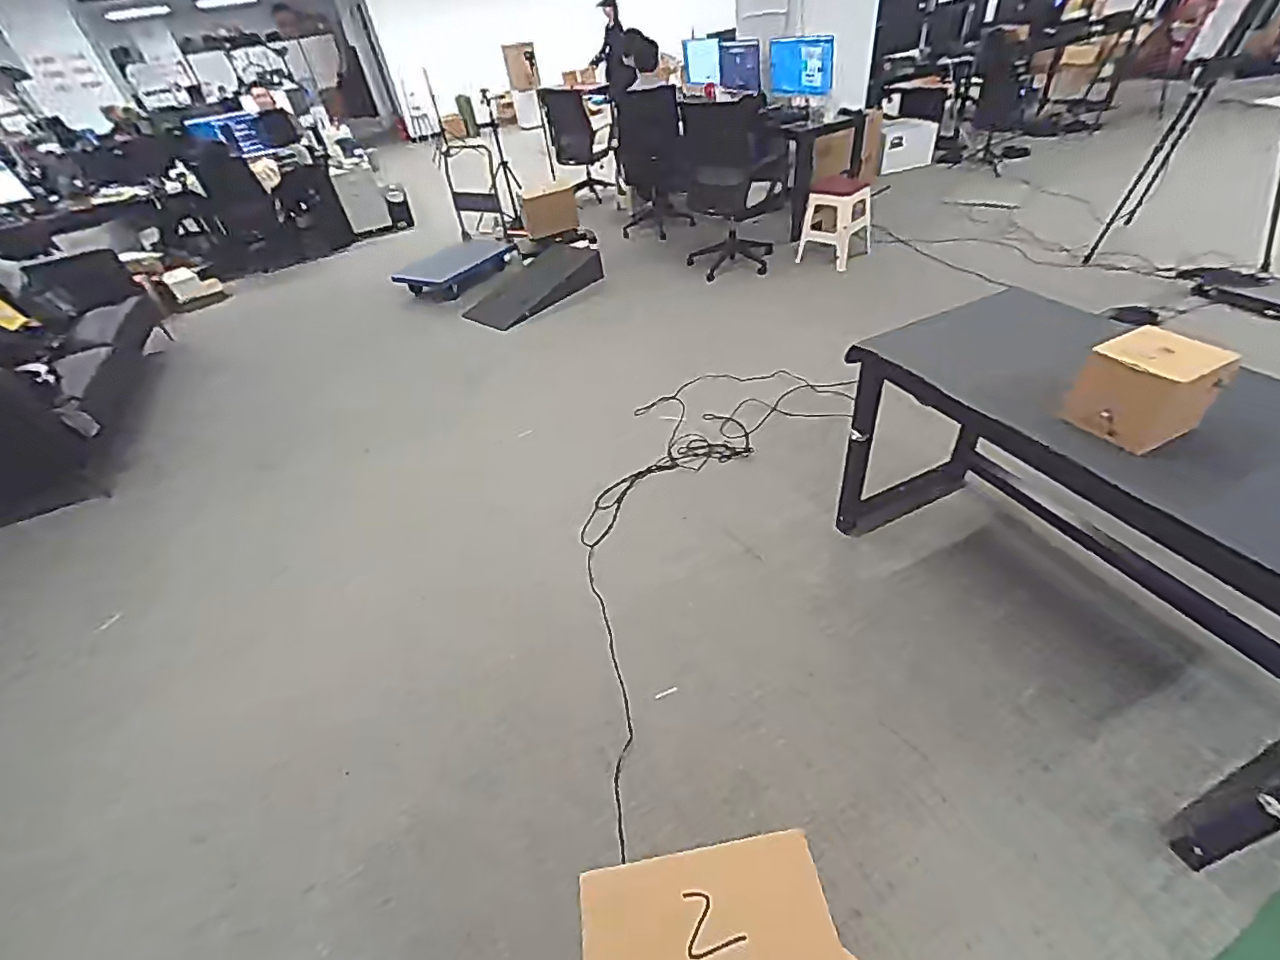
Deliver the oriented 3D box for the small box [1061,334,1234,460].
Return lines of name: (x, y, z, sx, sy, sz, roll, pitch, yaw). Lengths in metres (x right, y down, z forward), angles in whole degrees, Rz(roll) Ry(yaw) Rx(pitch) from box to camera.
small box: (1.016, -0.169, 1.102, 0.179, 0.176, 0.168, -21, 42, -15)
